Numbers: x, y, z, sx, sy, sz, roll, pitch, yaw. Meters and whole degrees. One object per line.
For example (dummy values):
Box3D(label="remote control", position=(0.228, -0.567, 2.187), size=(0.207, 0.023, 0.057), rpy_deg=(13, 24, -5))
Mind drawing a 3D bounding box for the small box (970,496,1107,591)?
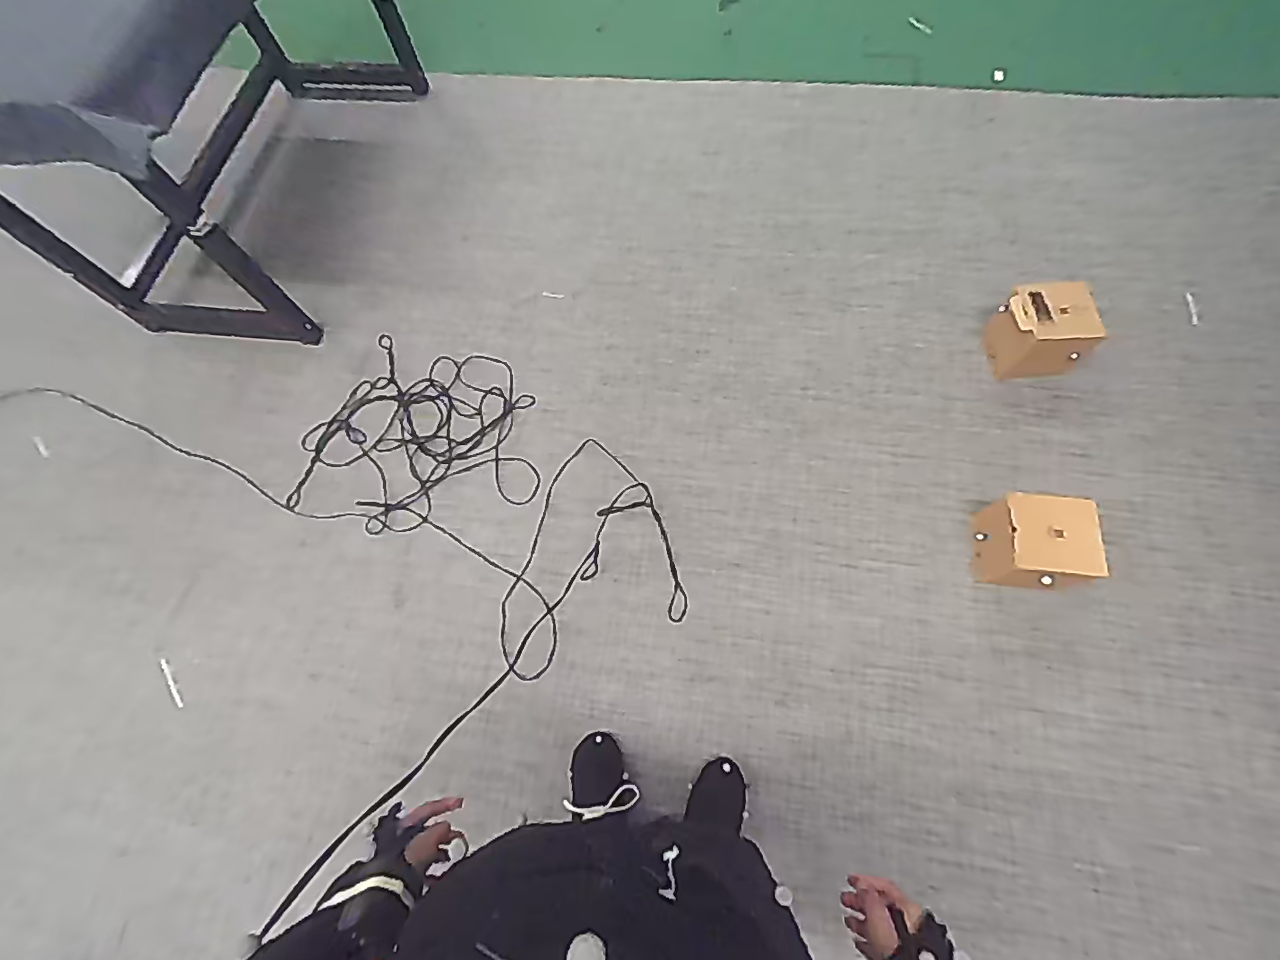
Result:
Box3D(label="small box", position=(0.867, 0.145, 1.193), size=(0.179, 0.176, 0.168), rpy_deg=(5, 69, 6))
